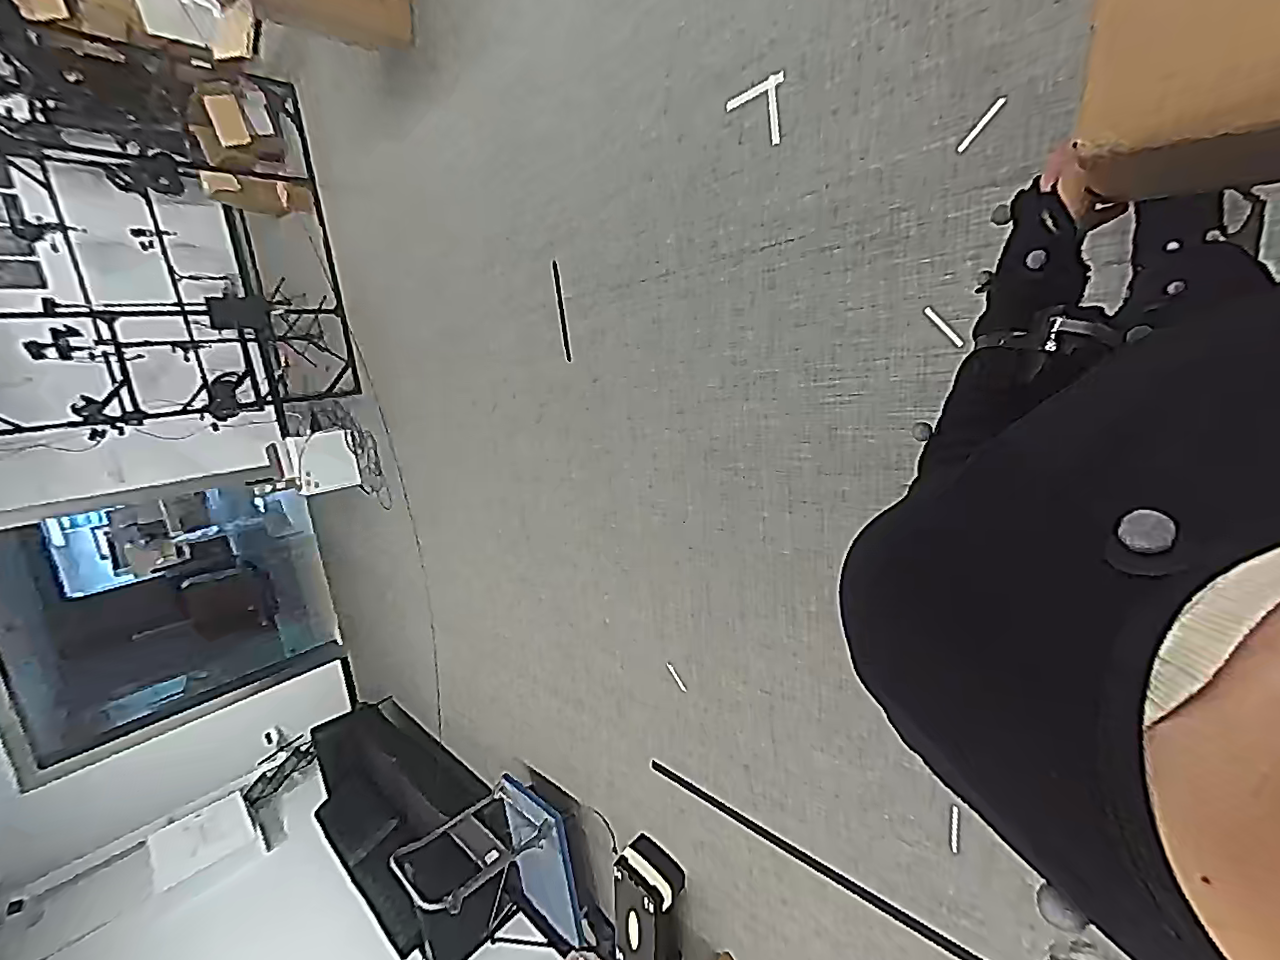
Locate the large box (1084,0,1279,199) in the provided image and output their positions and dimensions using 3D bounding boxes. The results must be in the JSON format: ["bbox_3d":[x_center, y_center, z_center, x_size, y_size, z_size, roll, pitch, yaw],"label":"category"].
[{"bbox_3d":[0.429,-0.312,0.183,0.408,0.320,0.320,10,115,38],"label":"large box"}]
